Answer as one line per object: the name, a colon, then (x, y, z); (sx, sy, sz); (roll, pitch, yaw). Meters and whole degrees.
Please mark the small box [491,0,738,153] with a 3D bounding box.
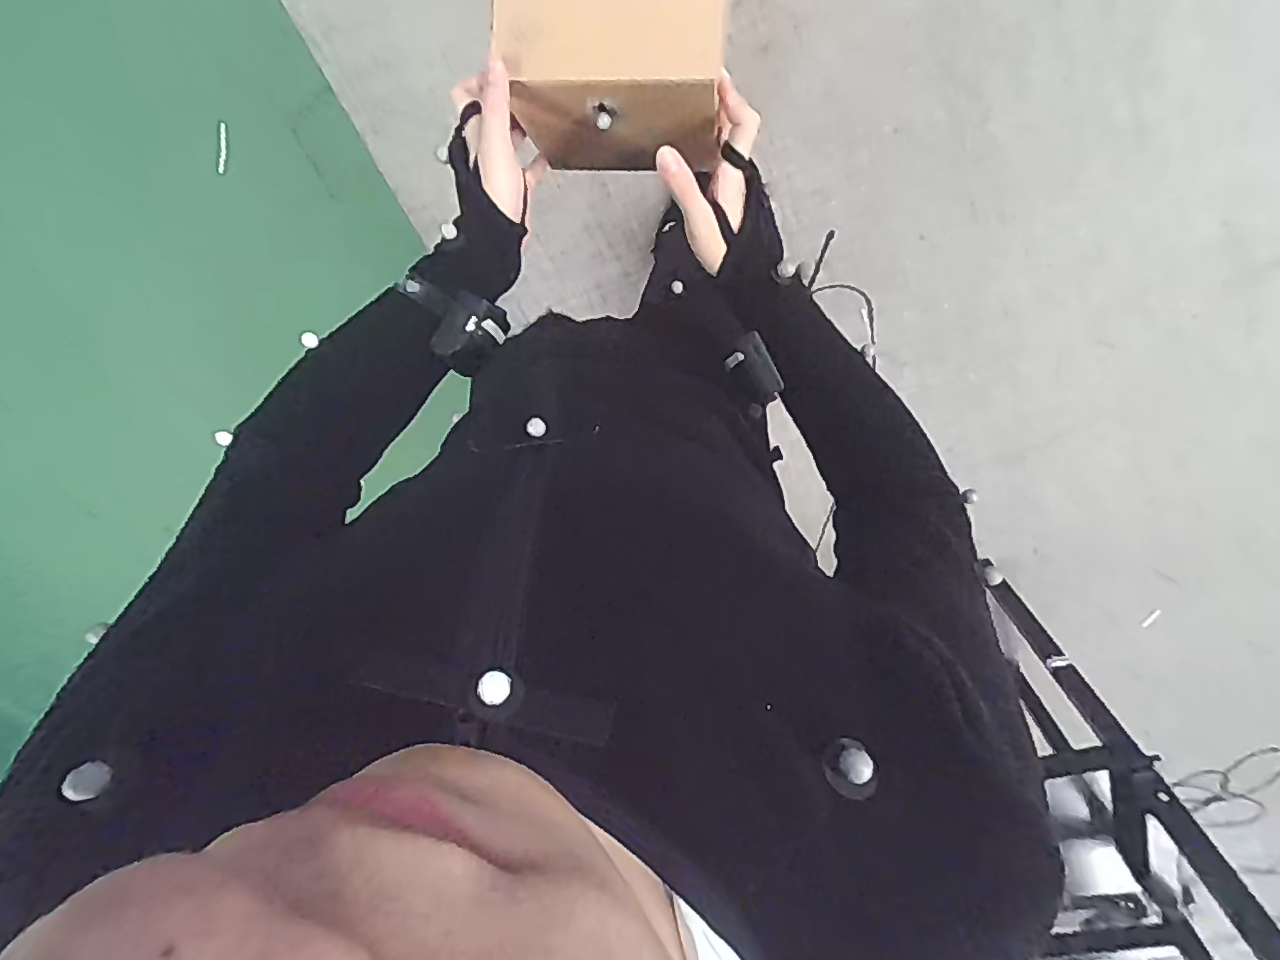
small box: (-0.009, -0.401, 0.461); (0.179, 0.176, 0.168); (5, 100, 7)
